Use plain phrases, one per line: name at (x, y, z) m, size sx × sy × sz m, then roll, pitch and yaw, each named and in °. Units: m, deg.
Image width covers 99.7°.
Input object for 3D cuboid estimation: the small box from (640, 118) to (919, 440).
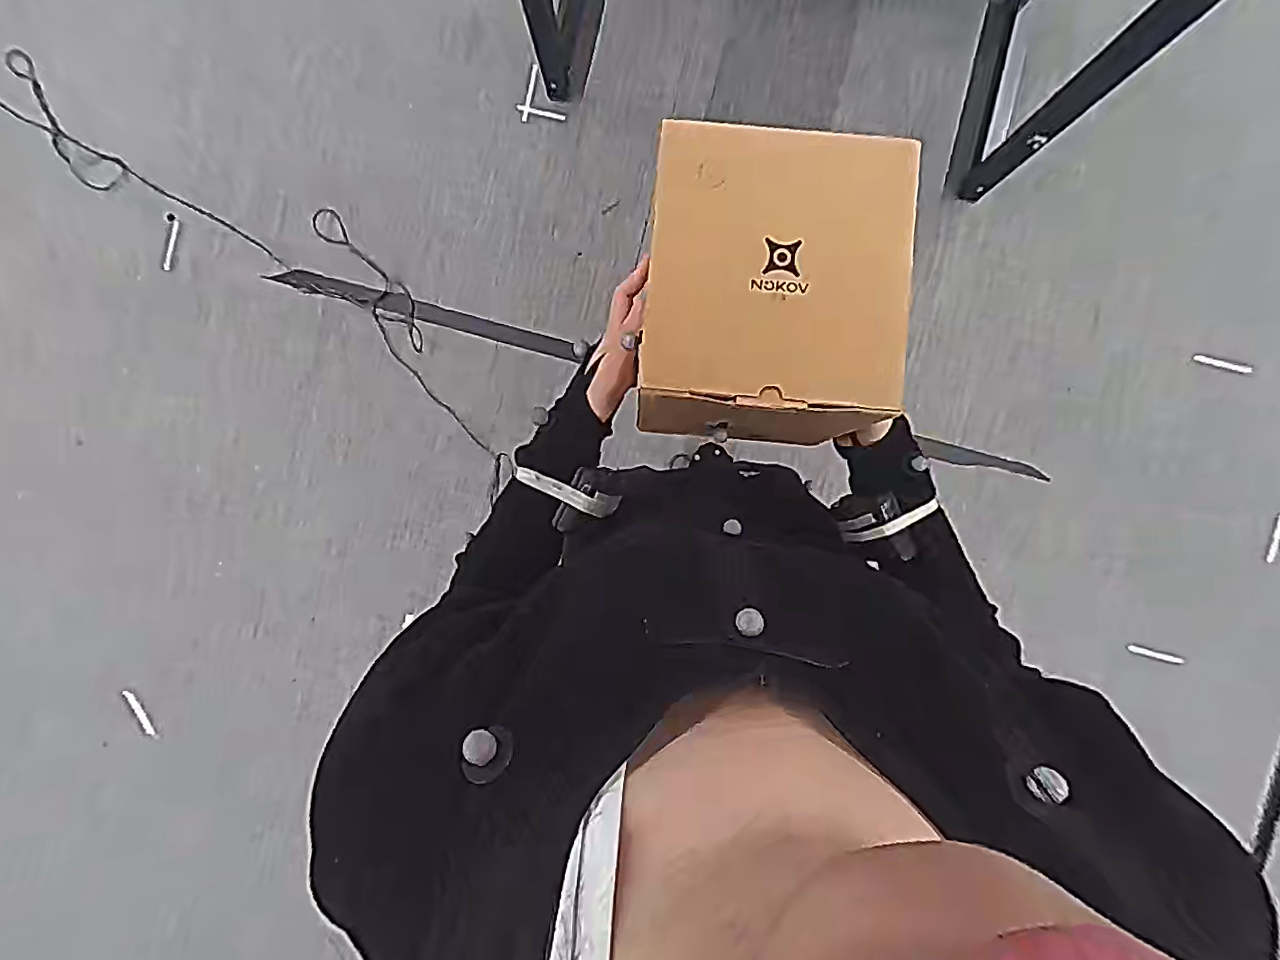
small box at (0.088, -0.132, 0.416) m, size 0.168 × 0.176 × 0.179 m, roll 4°, pitch 88°, yaw 0°
